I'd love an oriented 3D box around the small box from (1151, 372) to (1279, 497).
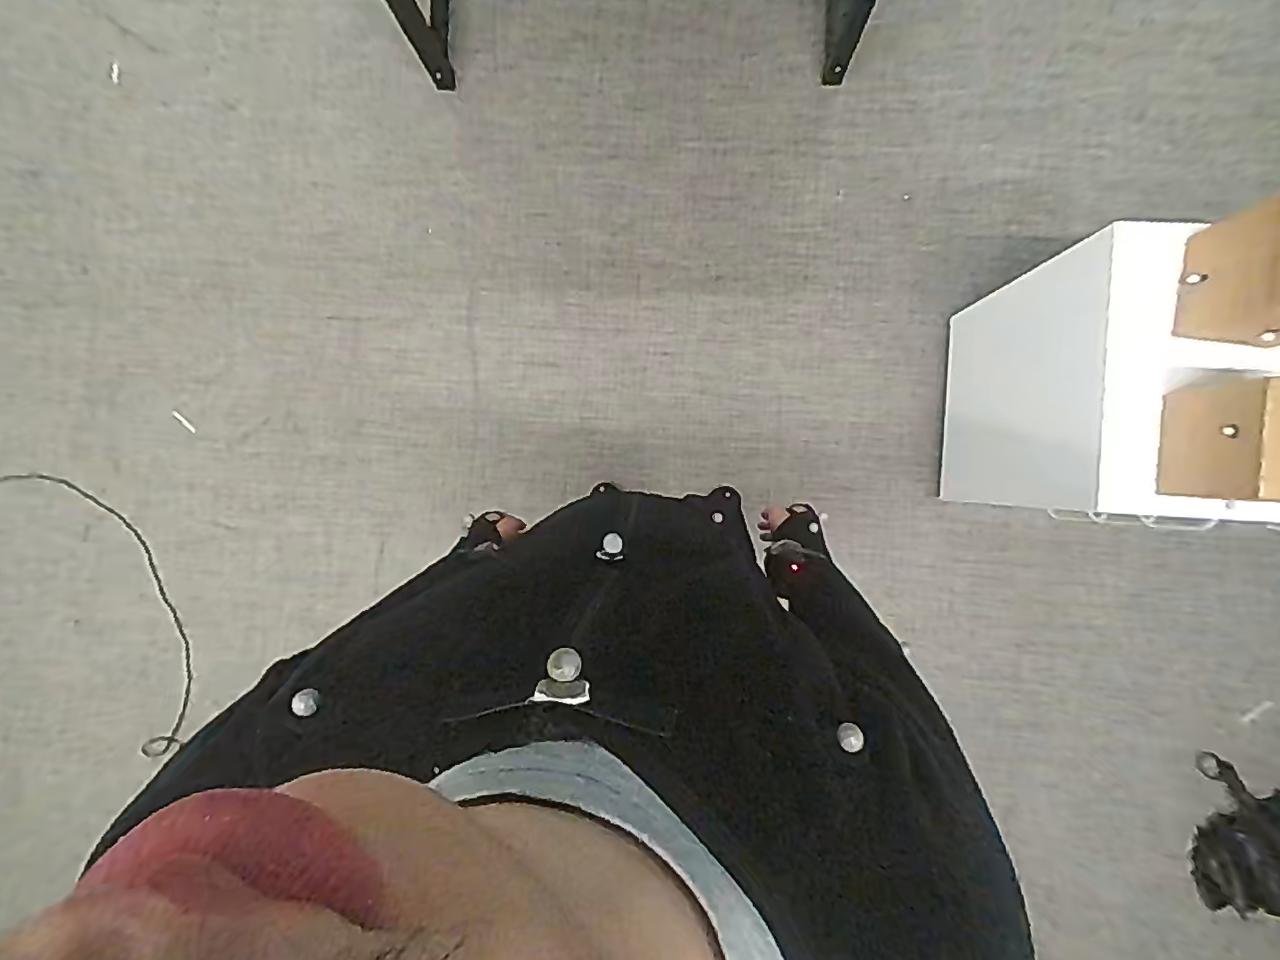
[{"bbox_3d":[0.970,-0.065,0.860,0.168,0.176,0.179,3,89,1],"label":"small box"}]
